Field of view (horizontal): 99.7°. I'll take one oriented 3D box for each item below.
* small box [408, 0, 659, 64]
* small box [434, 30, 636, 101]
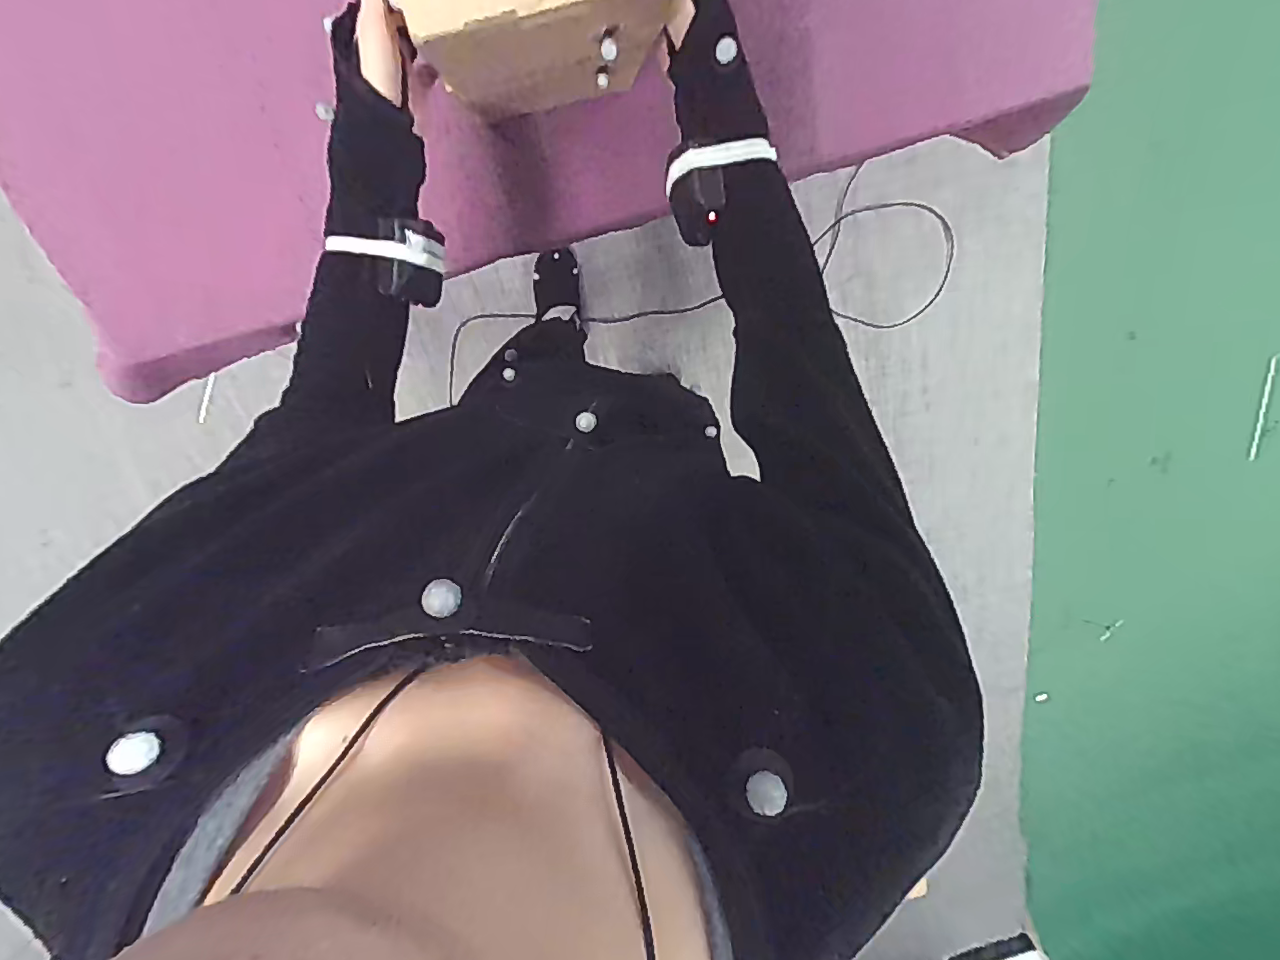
[{"bbox_3d":[-0.075,-0.386,0.331,0.168,0.176,0.179,-15,117,-1],"label":"small box"},{"bbox_3d":[-0.100,-0.459,0.474,0.179,0.176,0.168,-14,117,-1],"label":"small box"}]
